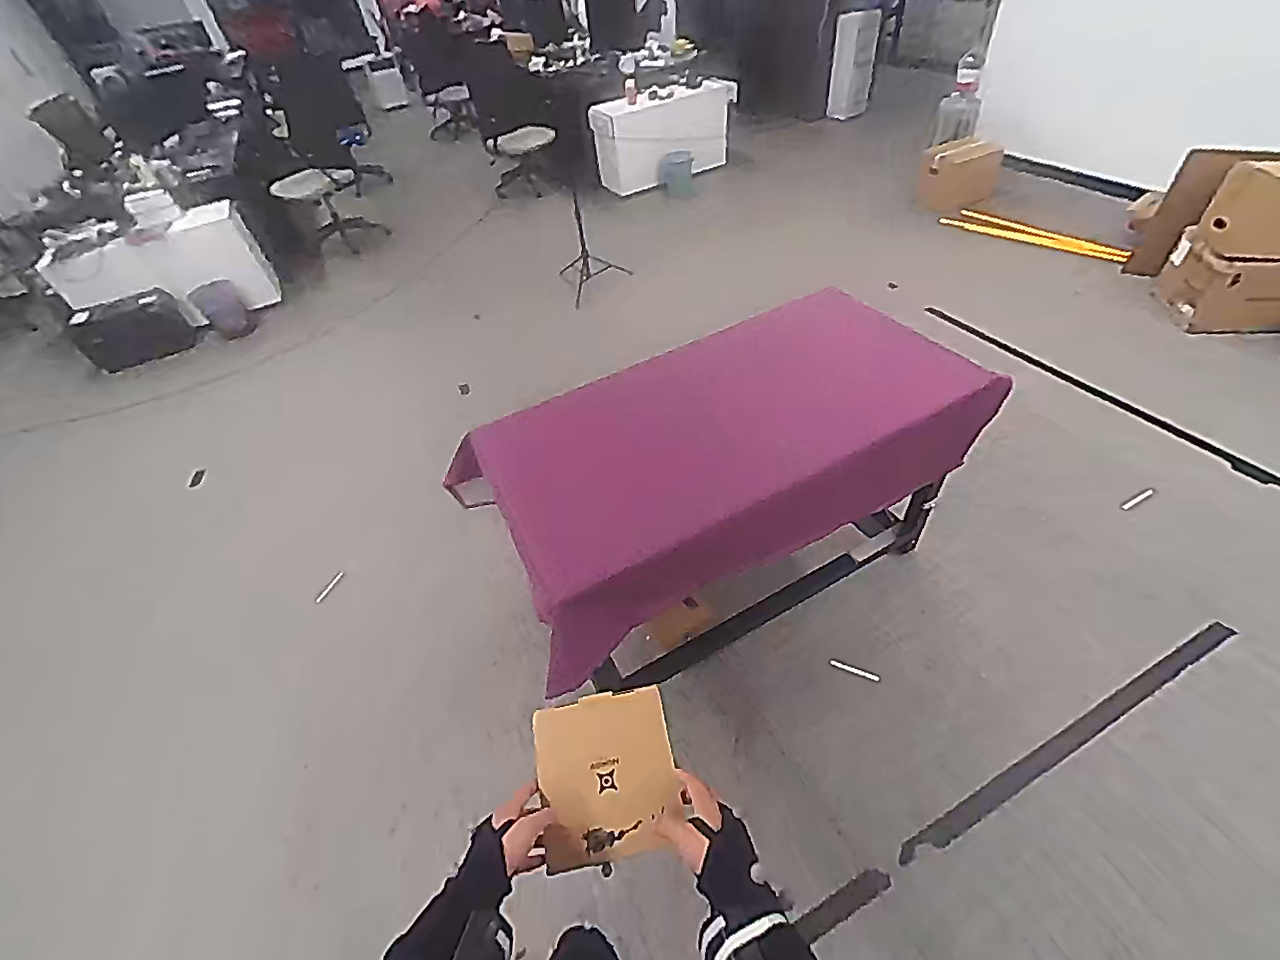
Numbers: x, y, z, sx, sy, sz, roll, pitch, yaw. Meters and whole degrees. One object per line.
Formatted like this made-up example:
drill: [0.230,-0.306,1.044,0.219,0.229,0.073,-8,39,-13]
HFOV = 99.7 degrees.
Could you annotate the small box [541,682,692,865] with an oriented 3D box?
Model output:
small box: [-0.033,0.388,0.719,0.168,0.176,0.179,-9,59,-4]
